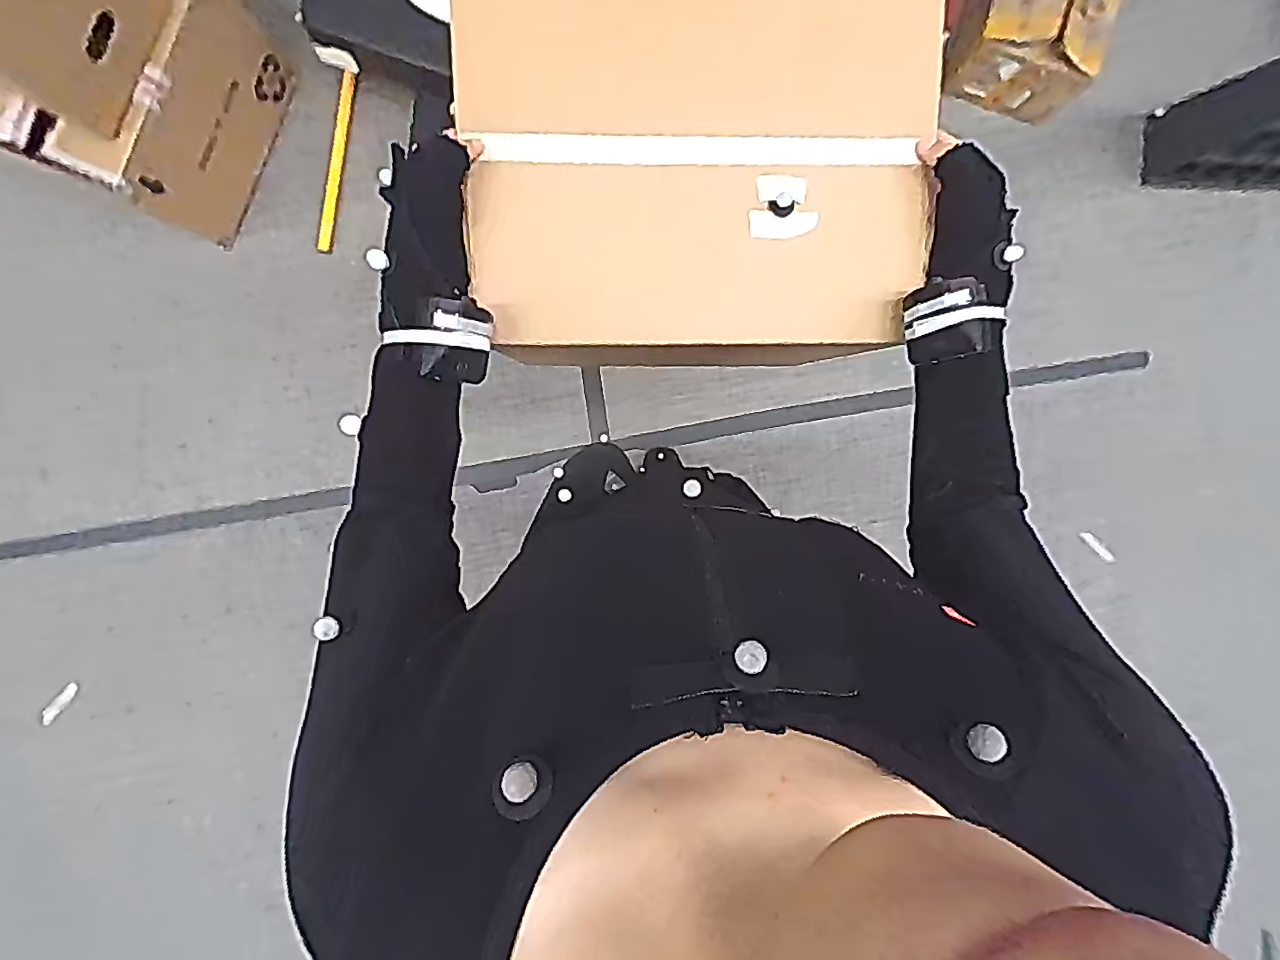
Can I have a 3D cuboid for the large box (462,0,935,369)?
[{"bbox_3d":[0.044,-0.296,0.610,0.408,0.320,0.320,-1,98,-4],"label":"large box"}]
